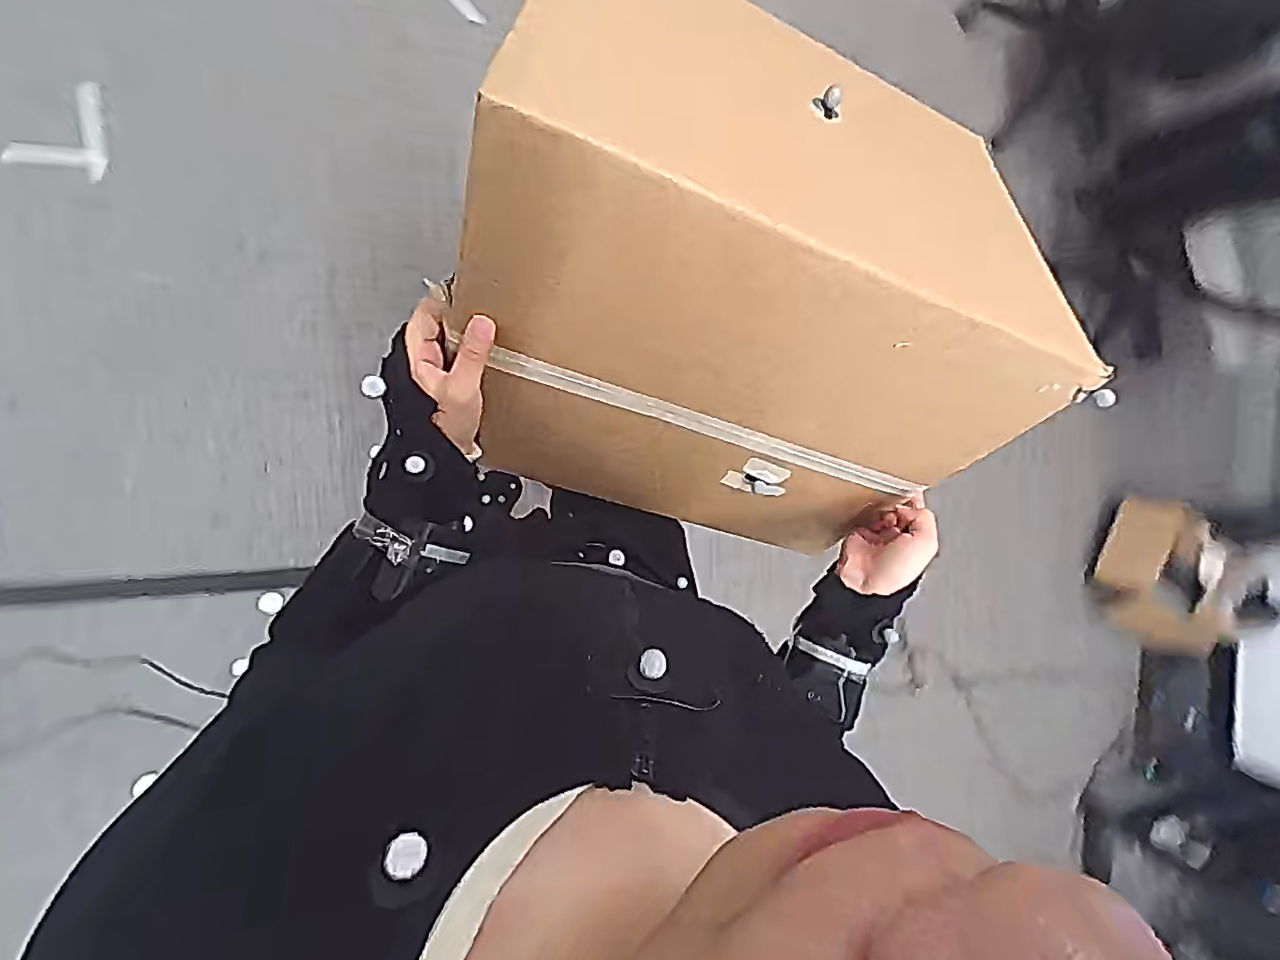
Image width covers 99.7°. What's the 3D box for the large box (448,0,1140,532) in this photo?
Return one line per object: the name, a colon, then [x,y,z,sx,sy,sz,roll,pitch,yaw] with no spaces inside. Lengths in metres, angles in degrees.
large box: [0.073,-0.187,0.477,0.408,0.320,0.320,13,57,-15]
